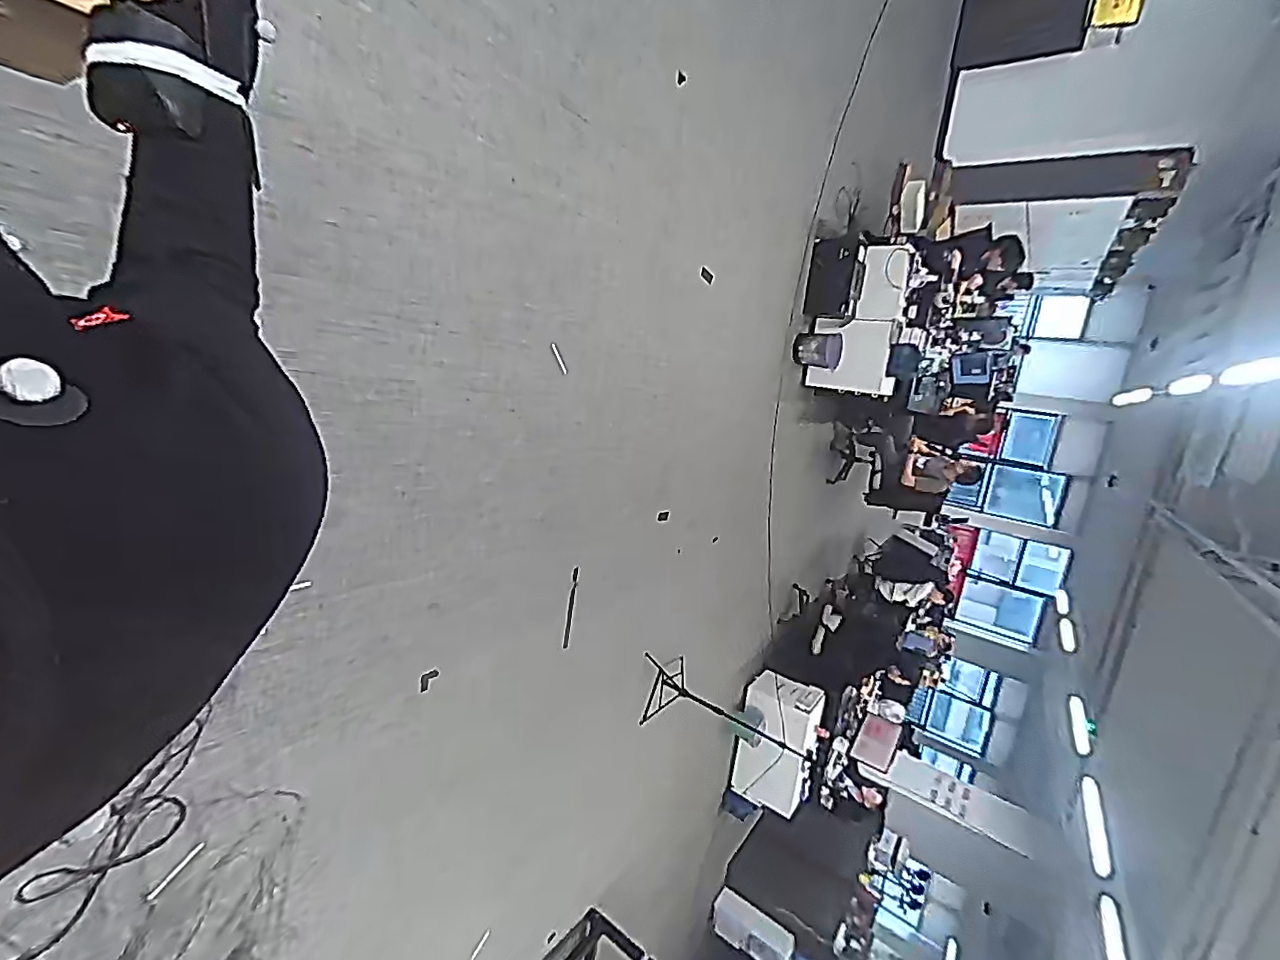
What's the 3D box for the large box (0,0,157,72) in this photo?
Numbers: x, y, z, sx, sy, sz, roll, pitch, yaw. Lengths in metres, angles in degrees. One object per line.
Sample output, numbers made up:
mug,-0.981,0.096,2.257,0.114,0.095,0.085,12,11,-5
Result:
large box,-0.537,-0.471,0.251,0.408,0.320,0.320,-9,117,-55
